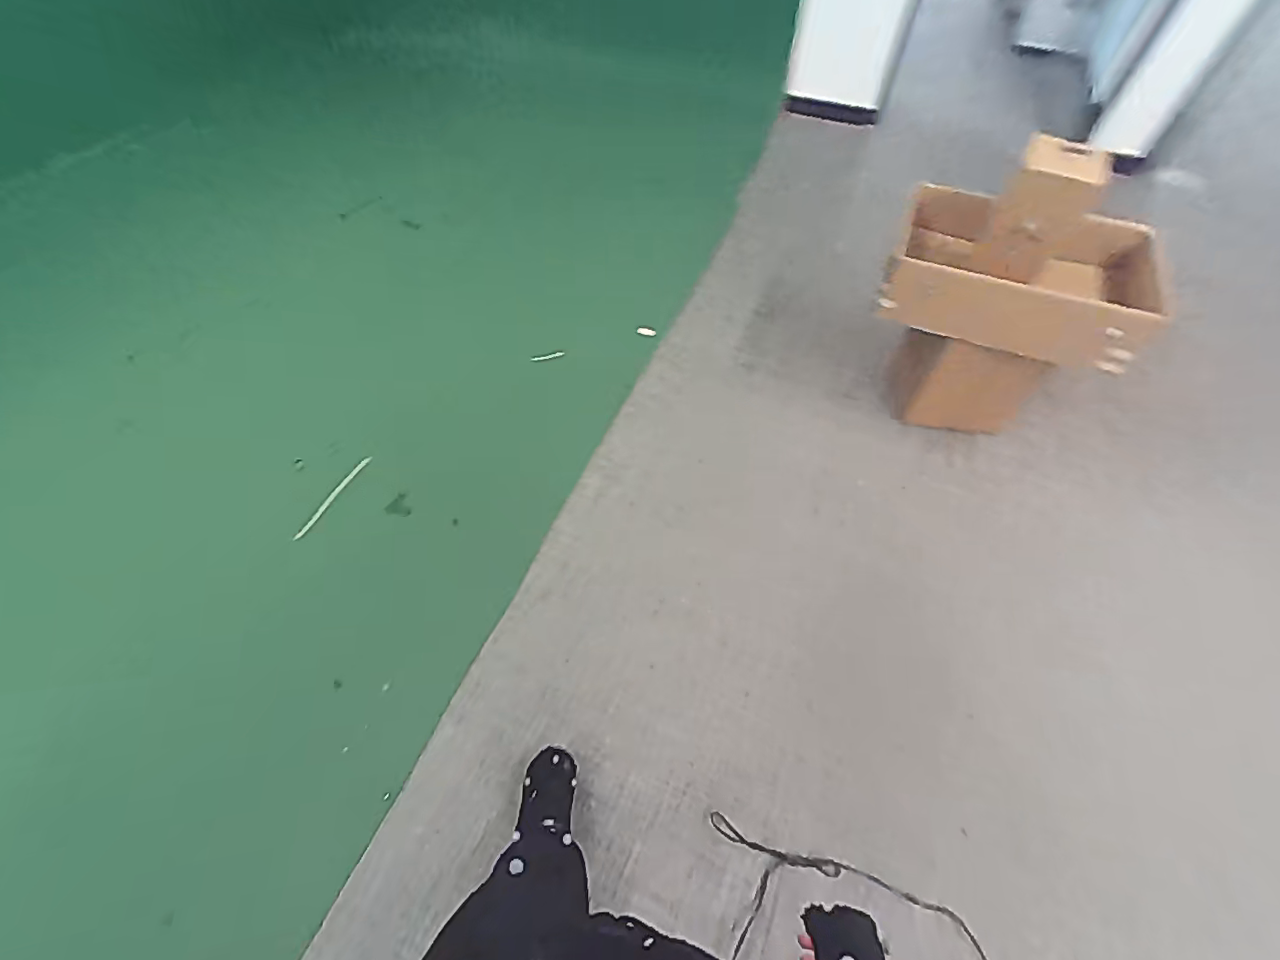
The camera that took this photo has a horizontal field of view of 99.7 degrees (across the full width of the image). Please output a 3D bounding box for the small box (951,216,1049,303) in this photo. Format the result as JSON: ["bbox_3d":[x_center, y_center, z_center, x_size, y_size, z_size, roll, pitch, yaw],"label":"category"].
[{"bbox_3d":[0.969,-0.611,1.449,0.168,0.176,0.179,26,60,16],"label":"small box"}]

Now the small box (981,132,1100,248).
[{"bbox_3d":[0.965,-0.701,1.312,0.168,0.176,0.179,24,61,14],"label":"small box"}]
